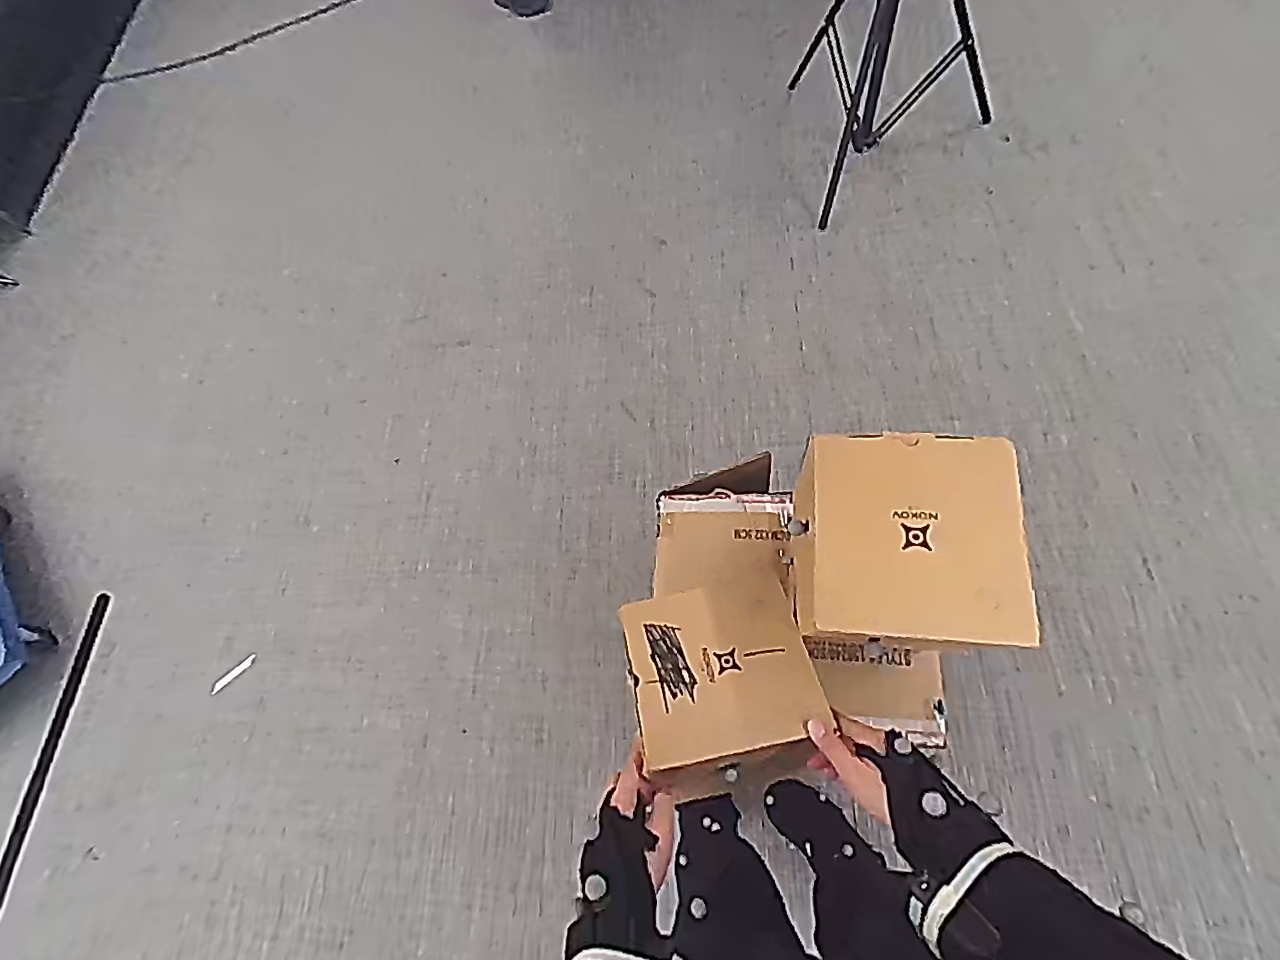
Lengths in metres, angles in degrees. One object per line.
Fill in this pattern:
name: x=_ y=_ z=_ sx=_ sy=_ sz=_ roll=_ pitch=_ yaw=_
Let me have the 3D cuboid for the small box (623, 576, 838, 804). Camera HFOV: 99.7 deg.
small box: x=0.089 y=0.231 z=0.586 sx=0.179 sy=0.176 sz=0.168 roll=-12 pitch=50 yaw=-2

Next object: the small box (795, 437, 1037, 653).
small box: x=0.244 y=0.070 z=0.525 sx=0.168 sy=0.176 sz=0.179 roll=1 pitch=71 yaw=11
